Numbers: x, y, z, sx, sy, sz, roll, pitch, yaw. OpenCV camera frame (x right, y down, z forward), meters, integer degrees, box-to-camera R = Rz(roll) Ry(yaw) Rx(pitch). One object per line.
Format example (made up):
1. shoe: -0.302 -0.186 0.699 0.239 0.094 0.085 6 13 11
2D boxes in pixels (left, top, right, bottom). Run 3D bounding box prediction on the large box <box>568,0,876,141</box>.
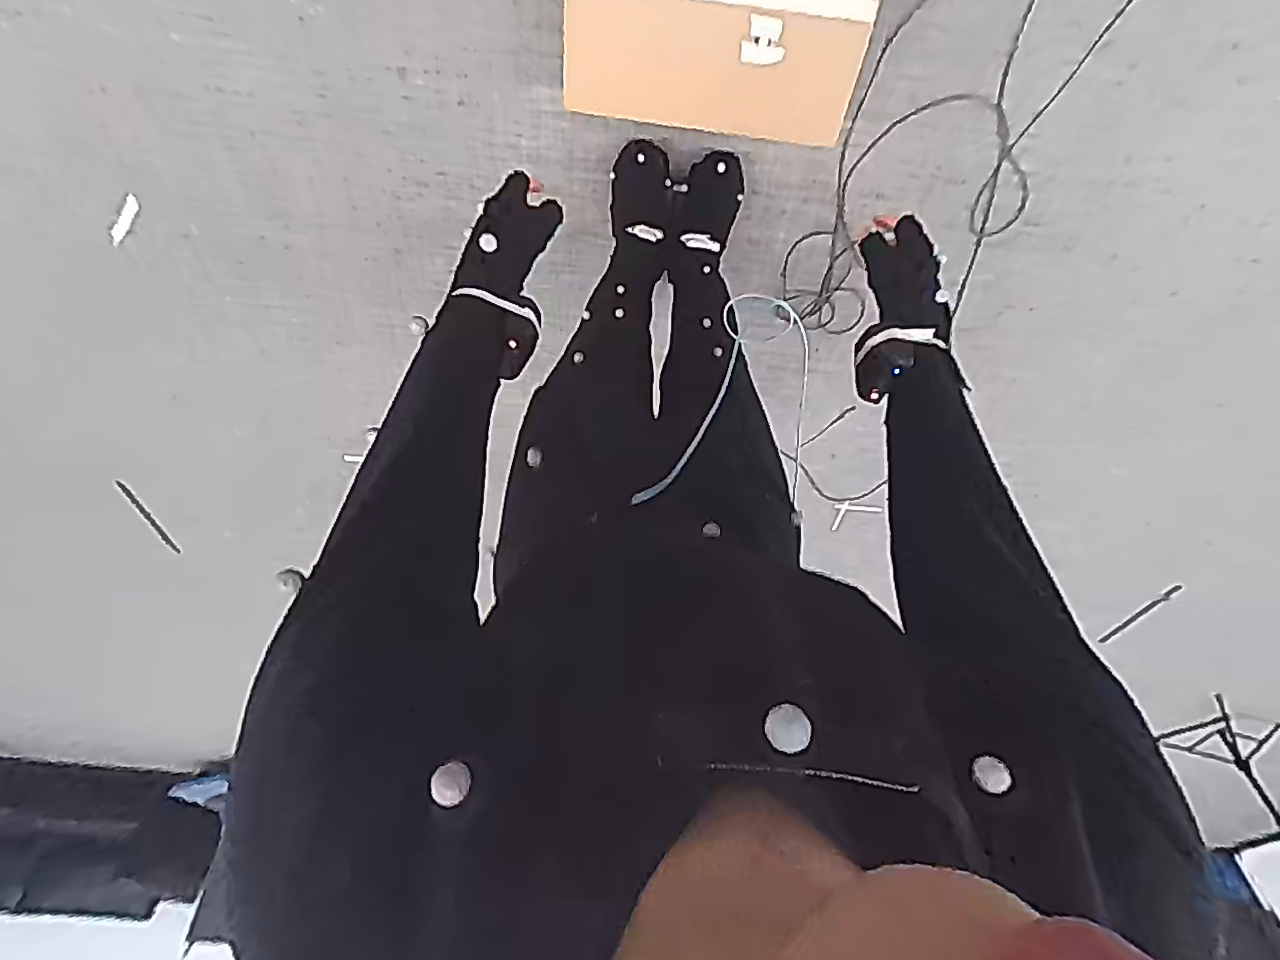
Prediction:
1. large box: 0.112 -0.734 0.799 0.408 0.320 0.320 7 135 -2
